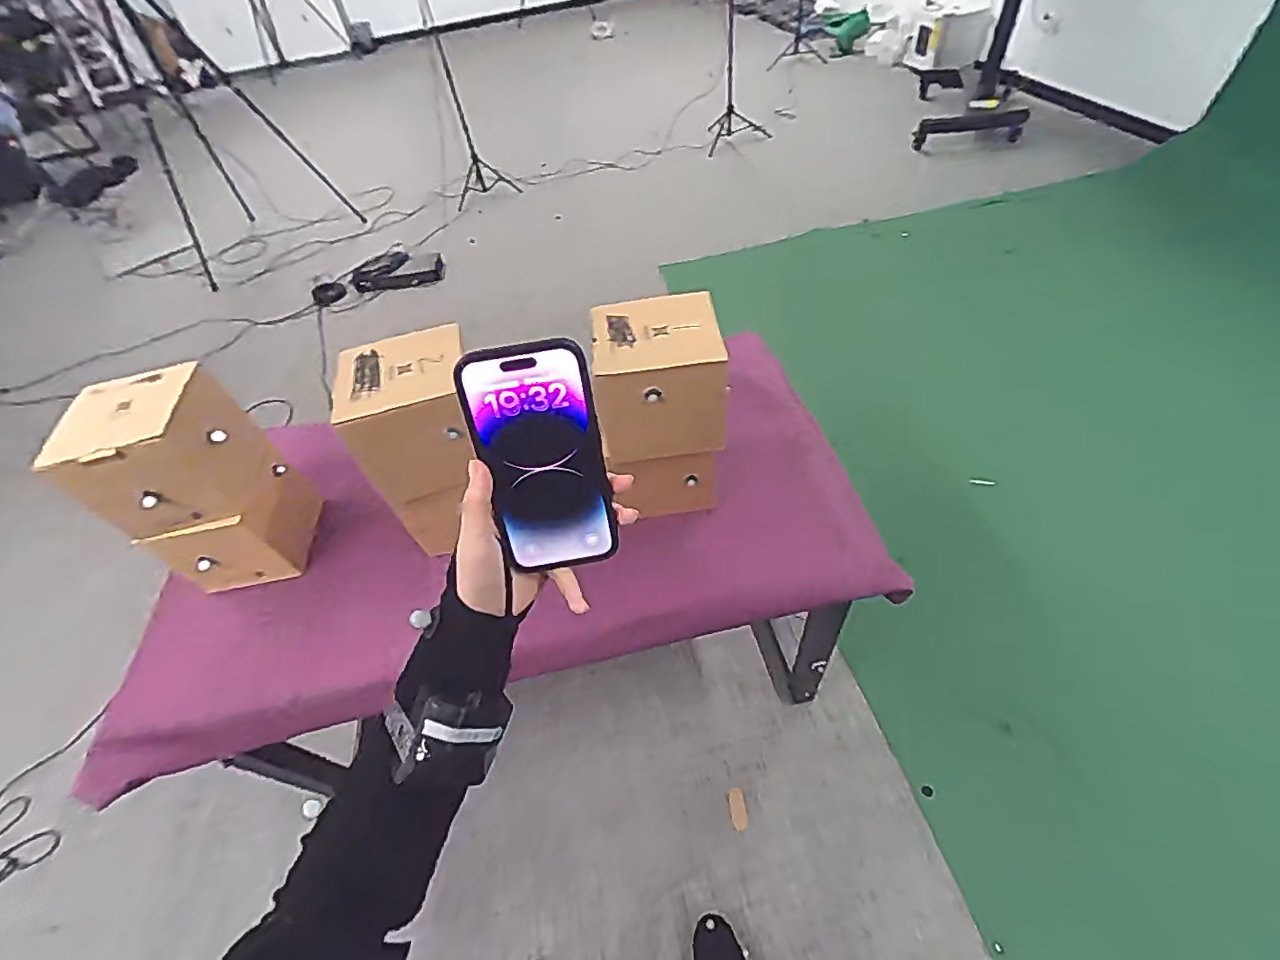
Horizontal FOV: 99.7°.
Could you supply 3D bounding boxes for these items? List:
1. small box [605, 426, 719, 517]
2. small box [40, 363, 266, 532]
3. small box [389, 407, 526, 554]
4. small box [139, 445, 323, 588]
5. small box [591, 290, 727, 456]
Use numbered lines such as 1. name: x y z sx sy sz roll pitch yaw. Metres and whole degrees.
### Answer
1. small box: 0.038 -0.055 0.927 0.179 0.176 0.168 -8 49 3
2. small box: -0.704 -0.041 0.813 0.168 0.176 0.179 -15 50 -5
3. small box: -0.298 0.004 0.926 0.179 0.176 0.168 -12 49 -1
4. small box: -0.683 0.071 0.932 0.168 0.176 0.179 -12 49 -1
5. small box: 0.029 -0.151 0.793 0.179 0.176 0.168 -7 49 2
